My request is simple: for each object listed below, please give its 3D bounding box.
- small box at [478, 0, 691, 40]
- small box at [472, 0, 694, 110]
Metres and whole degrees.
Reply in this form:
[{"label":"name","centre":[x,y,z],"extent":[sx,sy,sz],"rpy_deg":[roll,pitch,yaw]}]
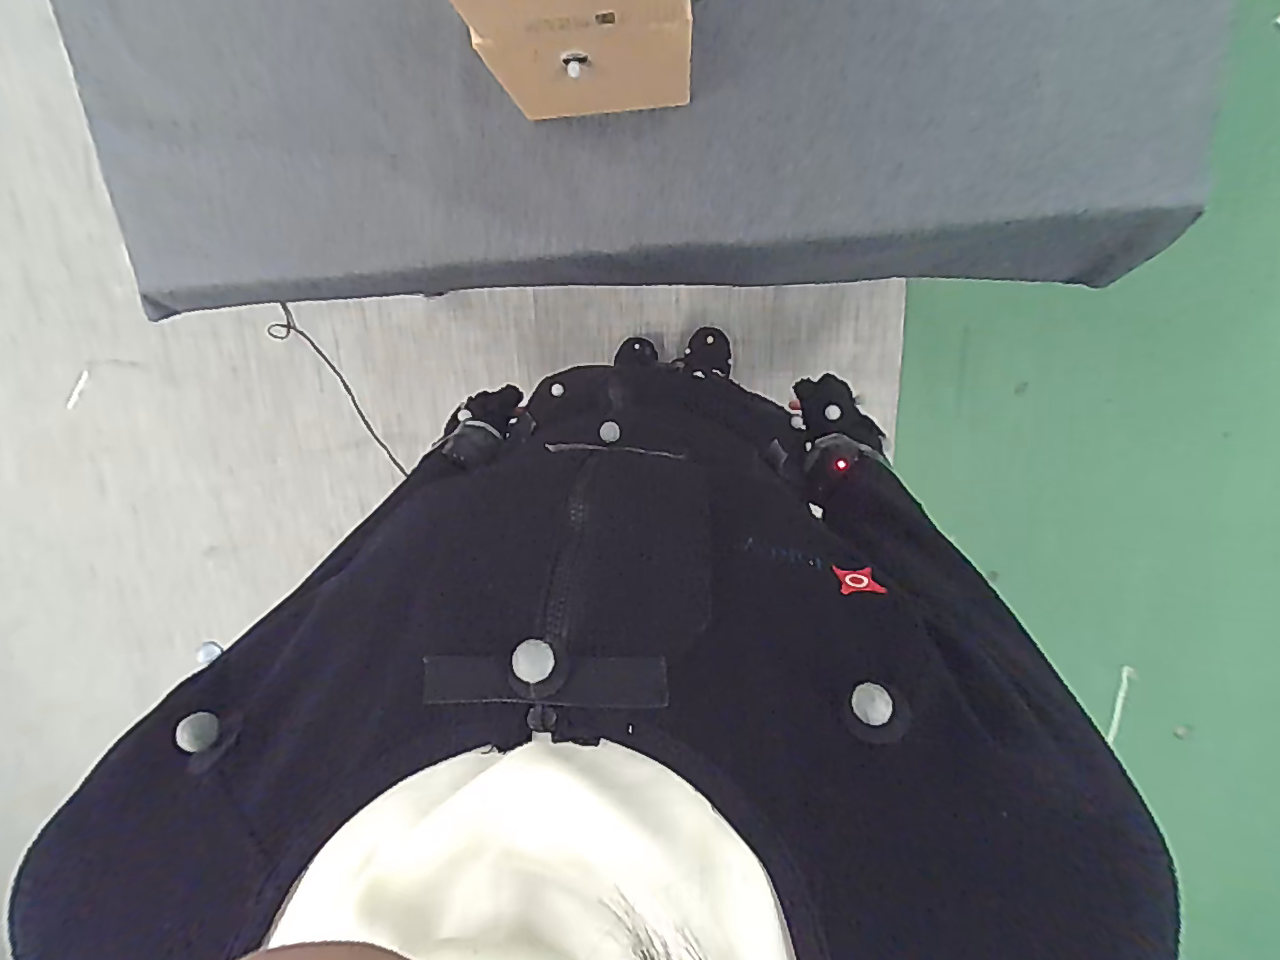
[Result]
[{"label":"small box","centre":[-0.051,-0.417,0.327],"extent":[0.168,0.176,0.179],"rpy_deg":[-3,106,5]},{"label":"small box","centre":[-0.042,-0.457,0.482],"extent":[0.179,0.176,0.168],"rpy_deg":[-2,106,5]}]
